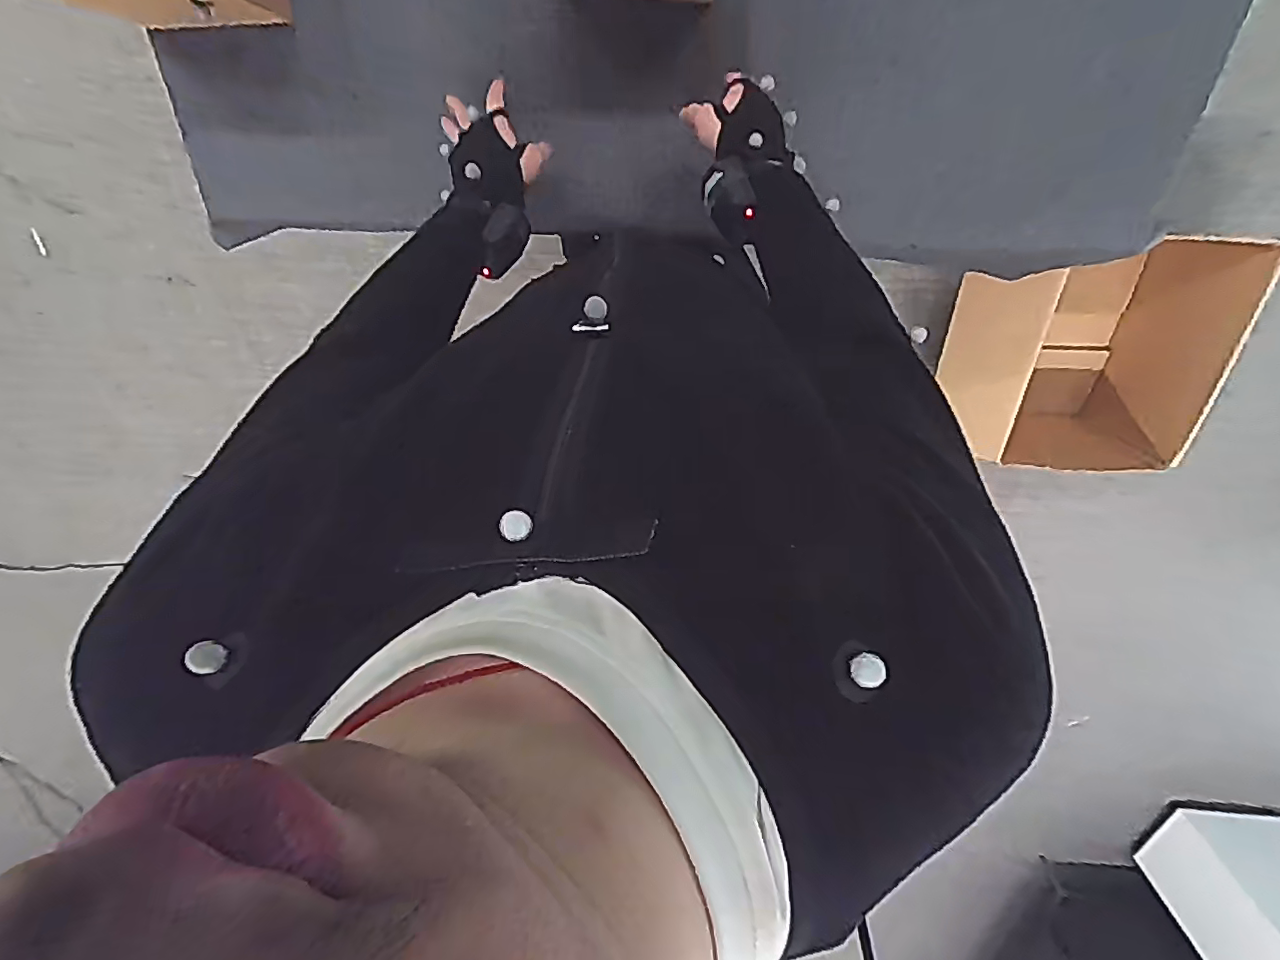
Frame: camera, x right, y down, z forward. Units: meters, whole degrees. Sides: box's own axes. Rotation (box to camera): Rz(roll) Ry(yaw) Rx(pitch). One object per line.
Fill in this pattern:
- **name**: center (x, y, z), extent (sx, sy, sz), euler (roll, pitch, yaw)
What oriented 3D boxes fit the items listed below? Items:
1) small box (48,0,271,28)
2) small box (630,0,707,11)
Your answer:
- **small box**: center (-0.481, -0.541, 0.494), extent (0.179, 0.176, 0.168), euler (0, 118, 4)
- **small box**: center (-0.003, -0.551, 0.480), extent (0.179, 0.176, 0.168), euler (8, 120, -2)
